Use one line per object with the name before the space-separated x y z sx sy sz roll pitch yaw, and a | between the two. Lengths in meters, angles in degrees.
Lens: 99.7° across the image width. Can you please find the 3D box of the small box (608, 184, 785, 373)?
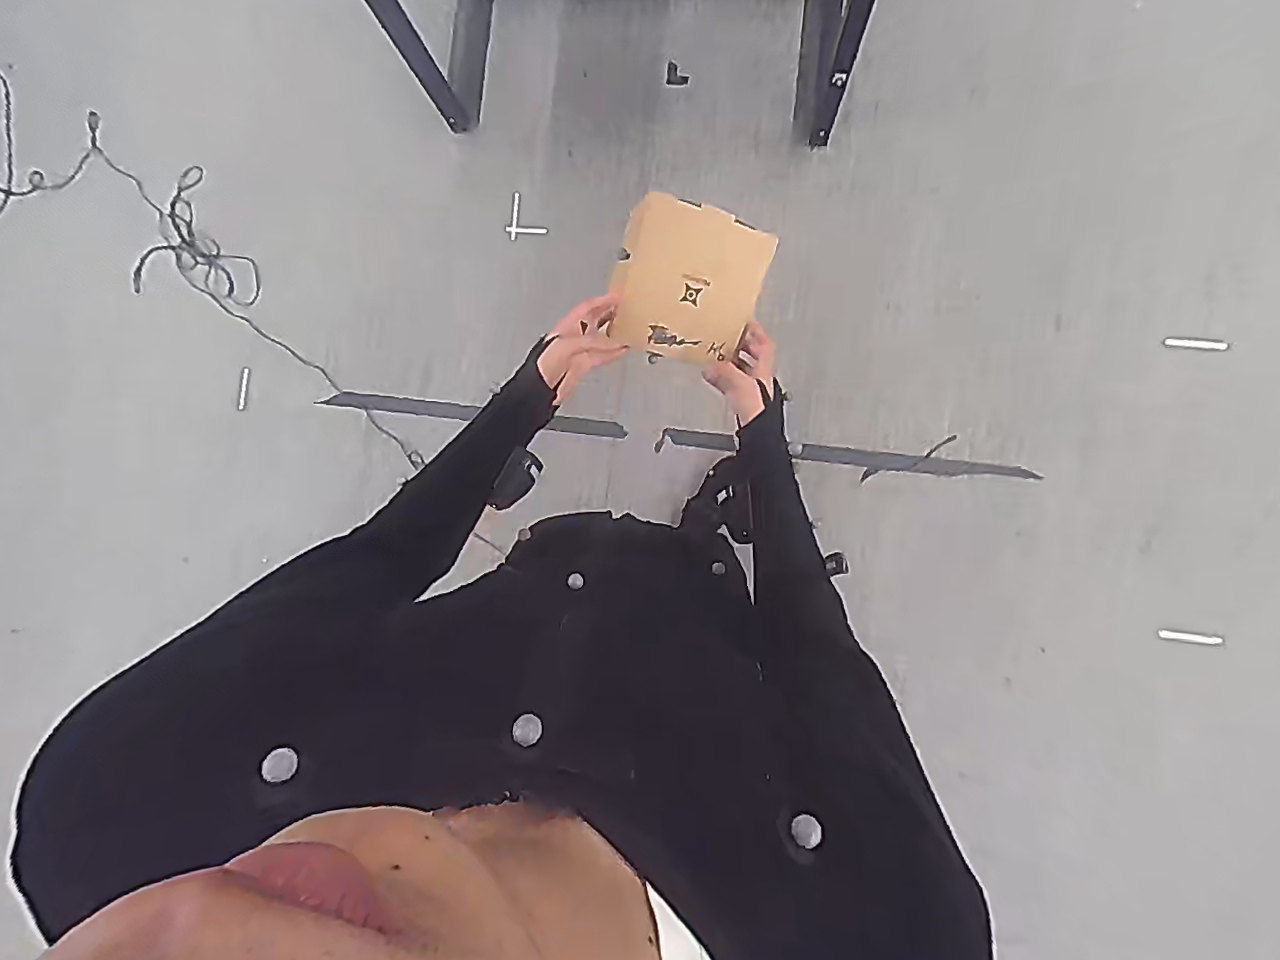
small box | 0.060 -0.261 0.723 0.168 0.176 0.179 14 107 -14
